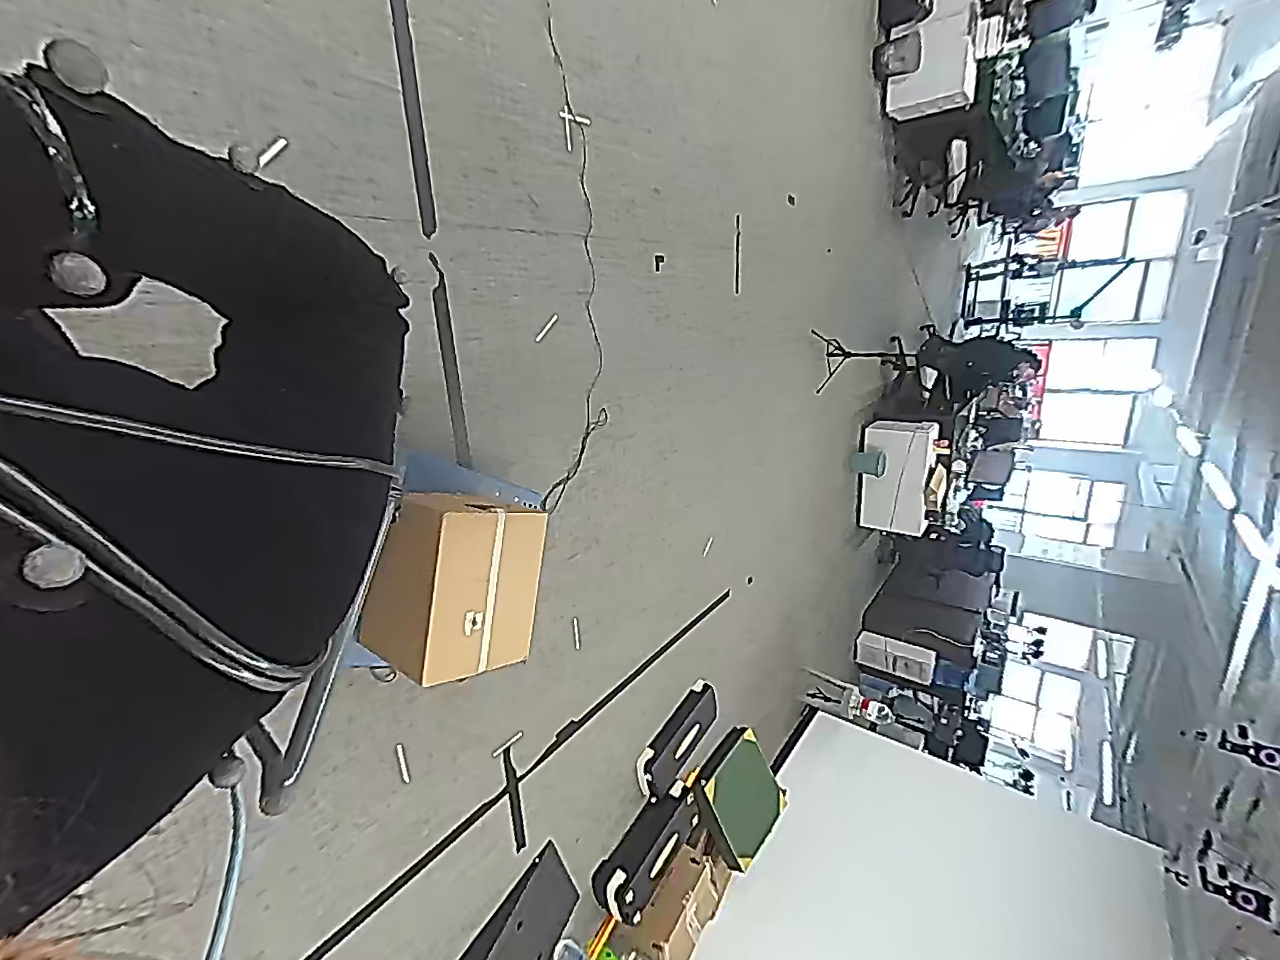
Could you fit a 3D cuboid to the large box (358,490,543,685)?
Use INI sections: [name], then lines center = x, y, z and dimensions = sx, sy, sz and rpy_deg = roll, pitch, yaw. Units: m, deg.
[large box]
center = -0.491, 0.247, 1.402
dimensions = 0.320, 0.320, 0.408
rpy_deg = 6, 94, -52
